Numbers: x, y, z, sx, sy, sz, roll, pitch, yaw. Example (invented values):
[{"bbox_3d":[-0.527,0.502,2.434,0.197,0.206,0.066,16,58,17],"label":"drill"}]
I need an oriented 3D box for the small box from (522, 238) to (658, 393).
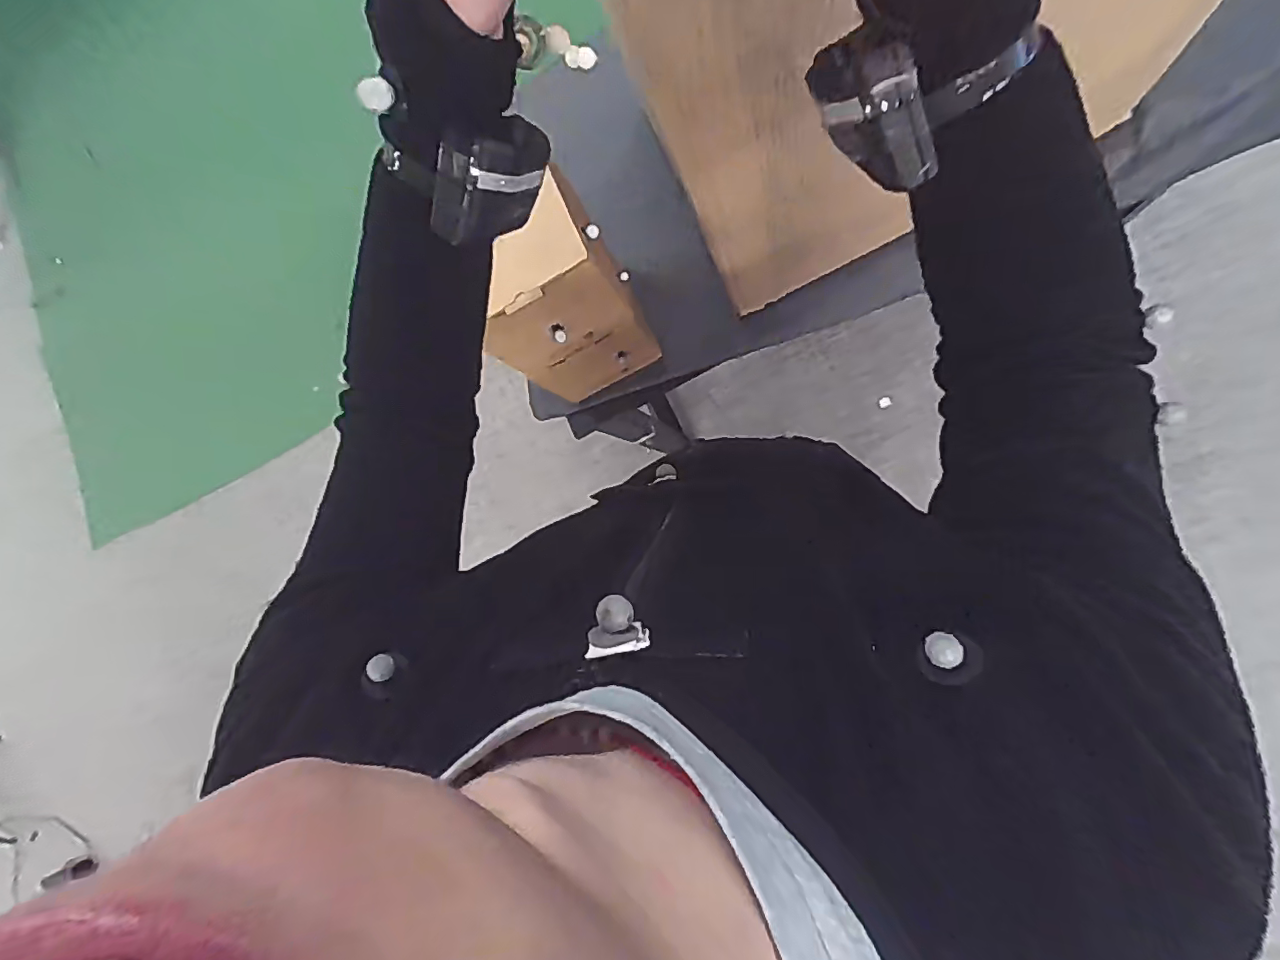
[{"bbox_3d":[-0.090,-0.245,0.804,0.168,0.176,0.179,-26,79,11],"label":"small box"}]

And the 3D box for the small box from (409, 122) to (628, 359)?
[{"bbox_3d":[-0.132,-0.262,0.647,0.168,0.176,0.179,-25,81,12],"label":"small box"}]
